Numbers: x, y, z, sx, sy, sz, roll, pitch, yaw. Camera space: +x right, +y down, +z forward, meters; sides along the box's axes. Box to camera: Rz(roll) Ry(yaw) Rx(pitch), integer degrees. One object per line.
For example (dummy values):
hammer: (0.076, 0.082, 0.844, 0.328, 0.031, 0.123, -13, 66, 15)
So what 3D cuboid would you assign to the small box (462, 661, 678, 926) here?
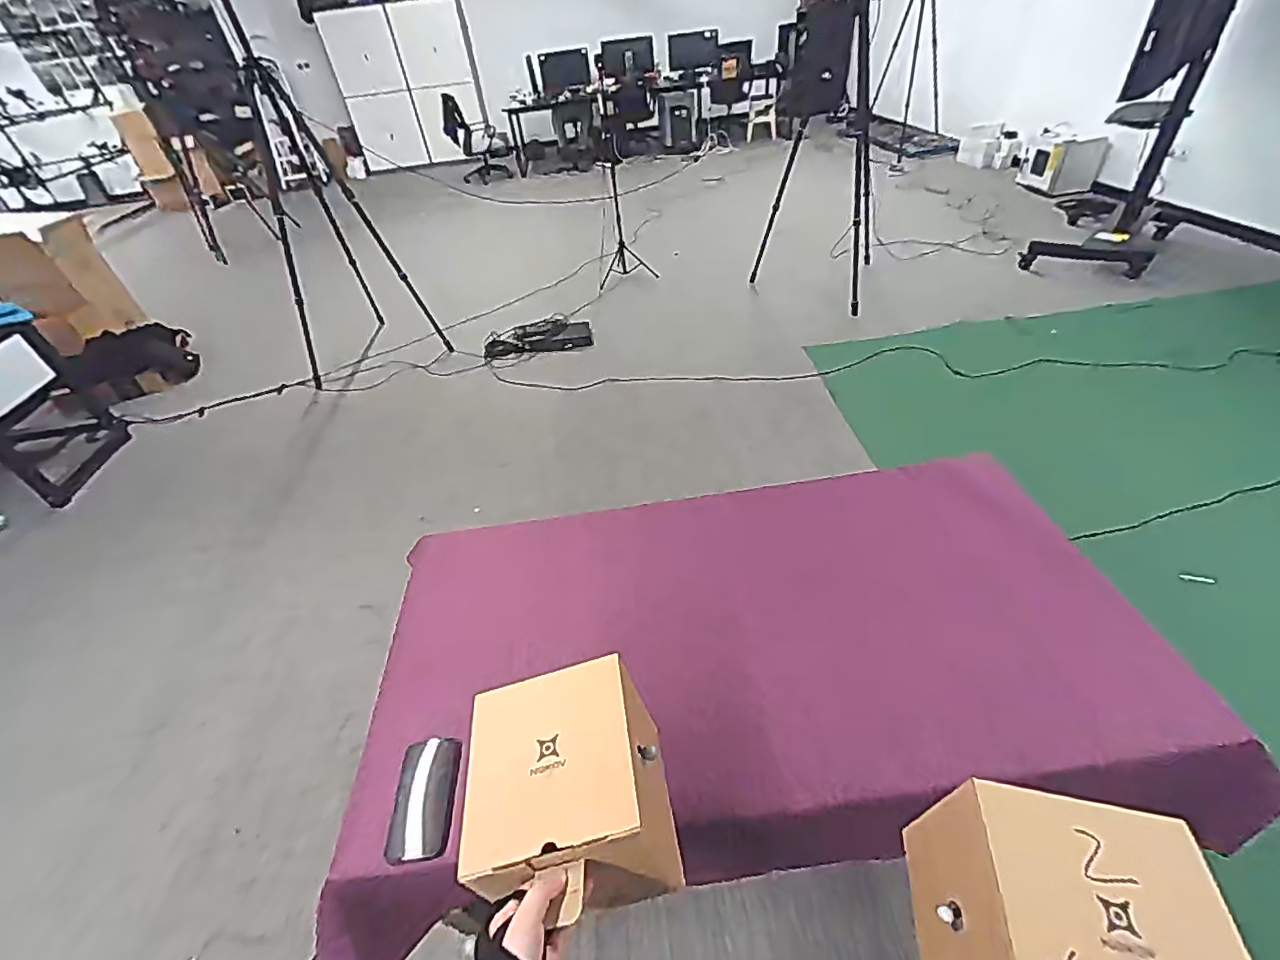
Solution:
small box: (-0.067, 0.331, 0.577, 0.168, 0.176, 0.179, -17, 37, 3)
